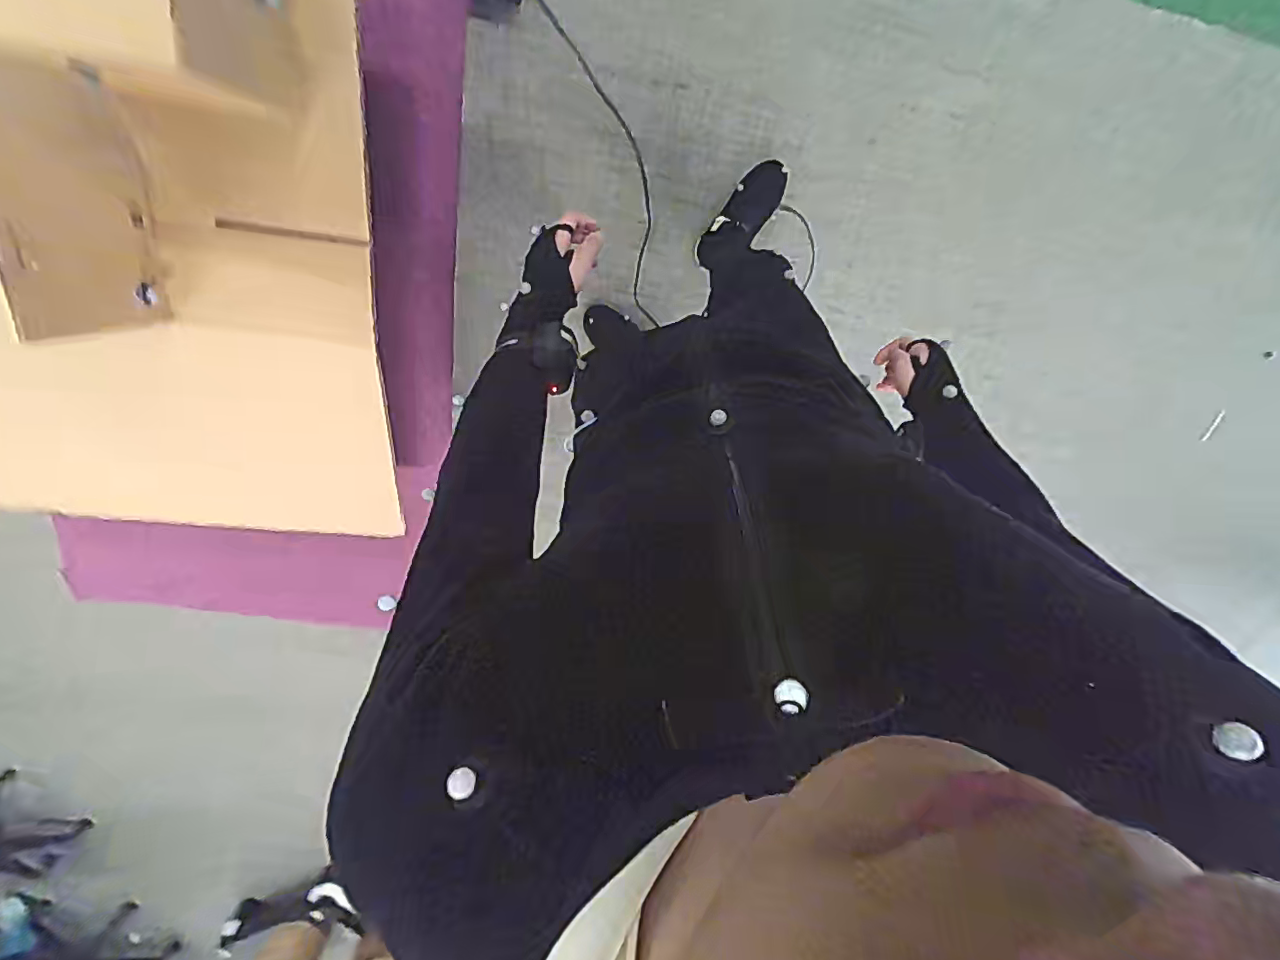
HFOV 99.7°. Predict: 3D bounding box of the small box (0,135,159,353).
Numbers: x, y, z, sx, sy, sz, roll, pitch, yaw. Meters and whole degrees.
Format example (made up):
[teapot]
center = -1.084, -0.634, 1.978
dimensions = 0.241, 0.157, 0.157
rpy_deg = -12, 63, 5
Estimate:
[small box]
center = -0.583, -0.217, 0.482
dimensions = 0.179, 0.176, 0.168
rpy_deg = 5, 112, -4
